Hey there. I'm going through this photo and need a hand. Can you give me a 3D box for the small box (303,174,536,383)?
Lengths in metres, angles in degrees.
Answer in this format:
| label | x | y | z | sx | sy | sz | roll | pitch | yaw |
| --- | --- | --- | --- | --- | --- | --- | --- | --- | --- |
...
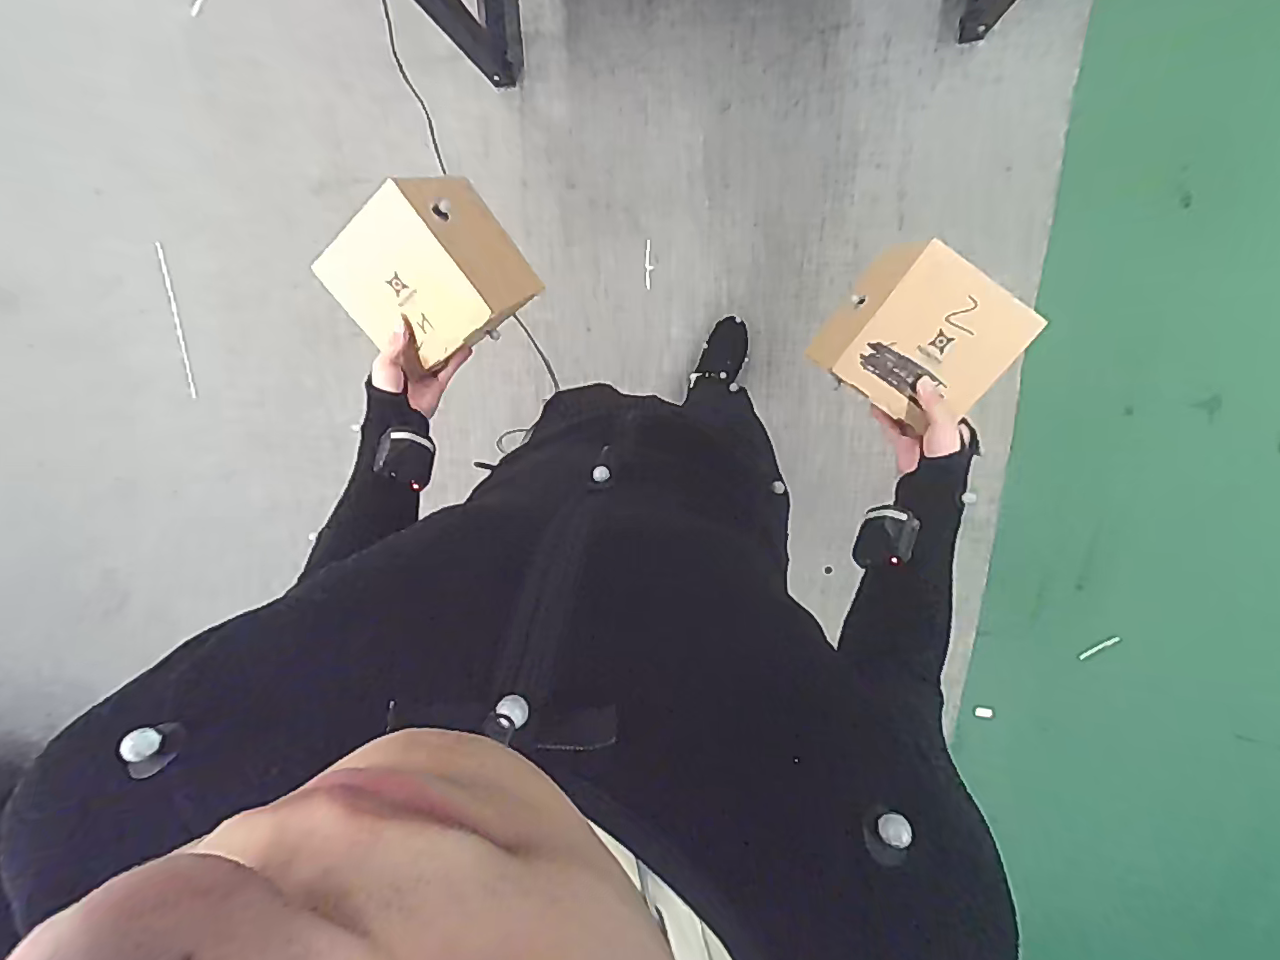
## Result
| label | x | y | z | sx | sy | sz | roll | pitch | yaw |
| --- | --- | --- | --- | --- | --- | --- | --- | --- | --- |
| small box | -0.267 | -0.259 | 0.692 | 0.168 | 0.176 | 0.179 | -27 | 110 | 26 |
